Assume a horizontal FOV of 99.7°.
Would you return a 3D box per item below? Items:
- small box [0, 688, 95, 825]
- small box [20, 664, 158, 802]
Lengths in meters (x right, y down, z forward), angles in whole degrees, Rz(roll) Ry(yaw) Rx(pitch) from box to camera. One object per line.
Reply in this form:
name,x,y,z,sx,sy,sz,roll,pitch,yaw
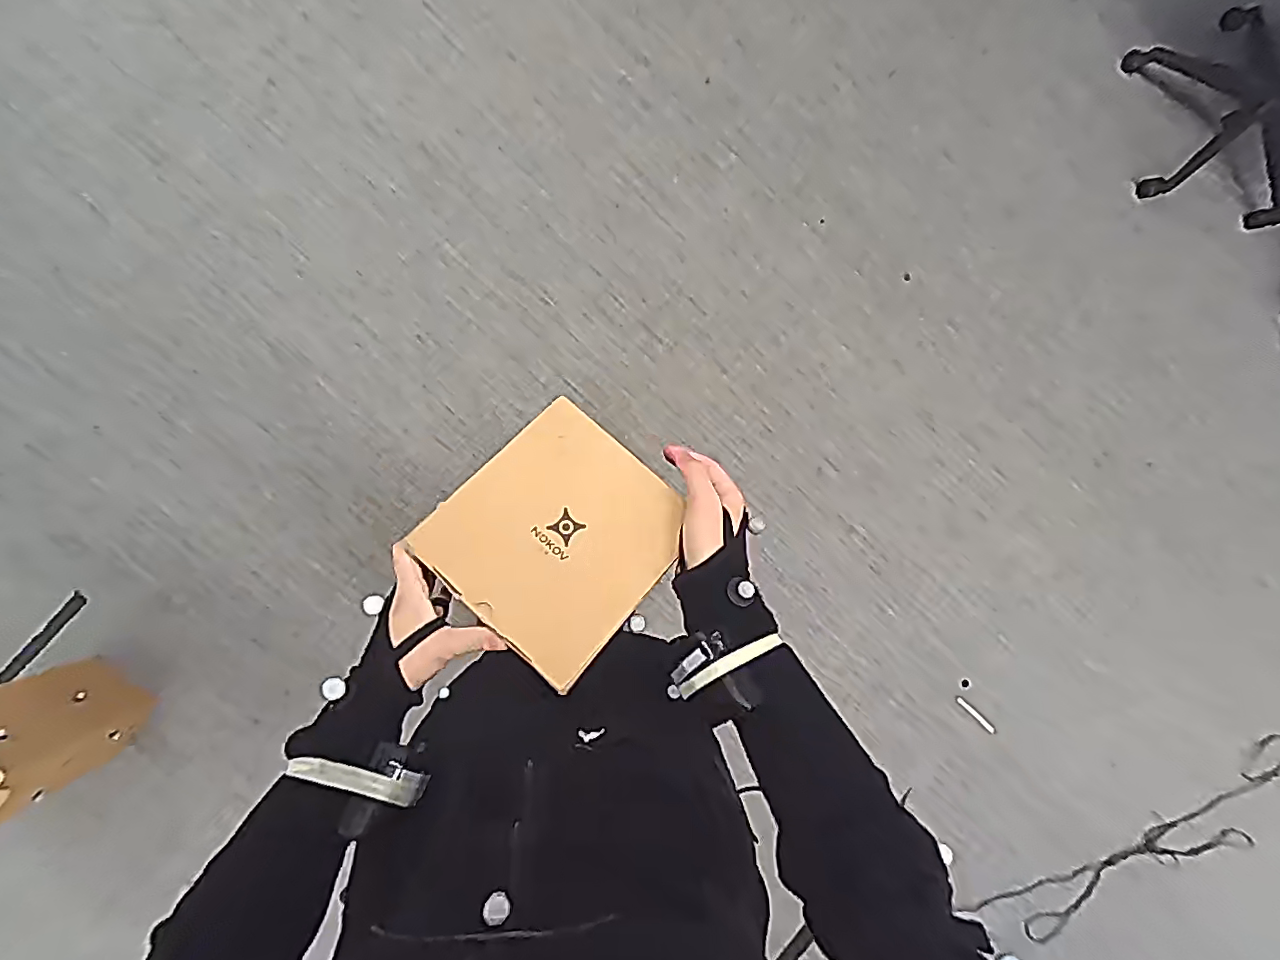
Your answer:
small box,-1.153,0.502,0.958,0.179,0.176,0.168,38,84,-4
small box,-1.177,0.510,1.121,0.179,0.176,0.168,37,84,-4
